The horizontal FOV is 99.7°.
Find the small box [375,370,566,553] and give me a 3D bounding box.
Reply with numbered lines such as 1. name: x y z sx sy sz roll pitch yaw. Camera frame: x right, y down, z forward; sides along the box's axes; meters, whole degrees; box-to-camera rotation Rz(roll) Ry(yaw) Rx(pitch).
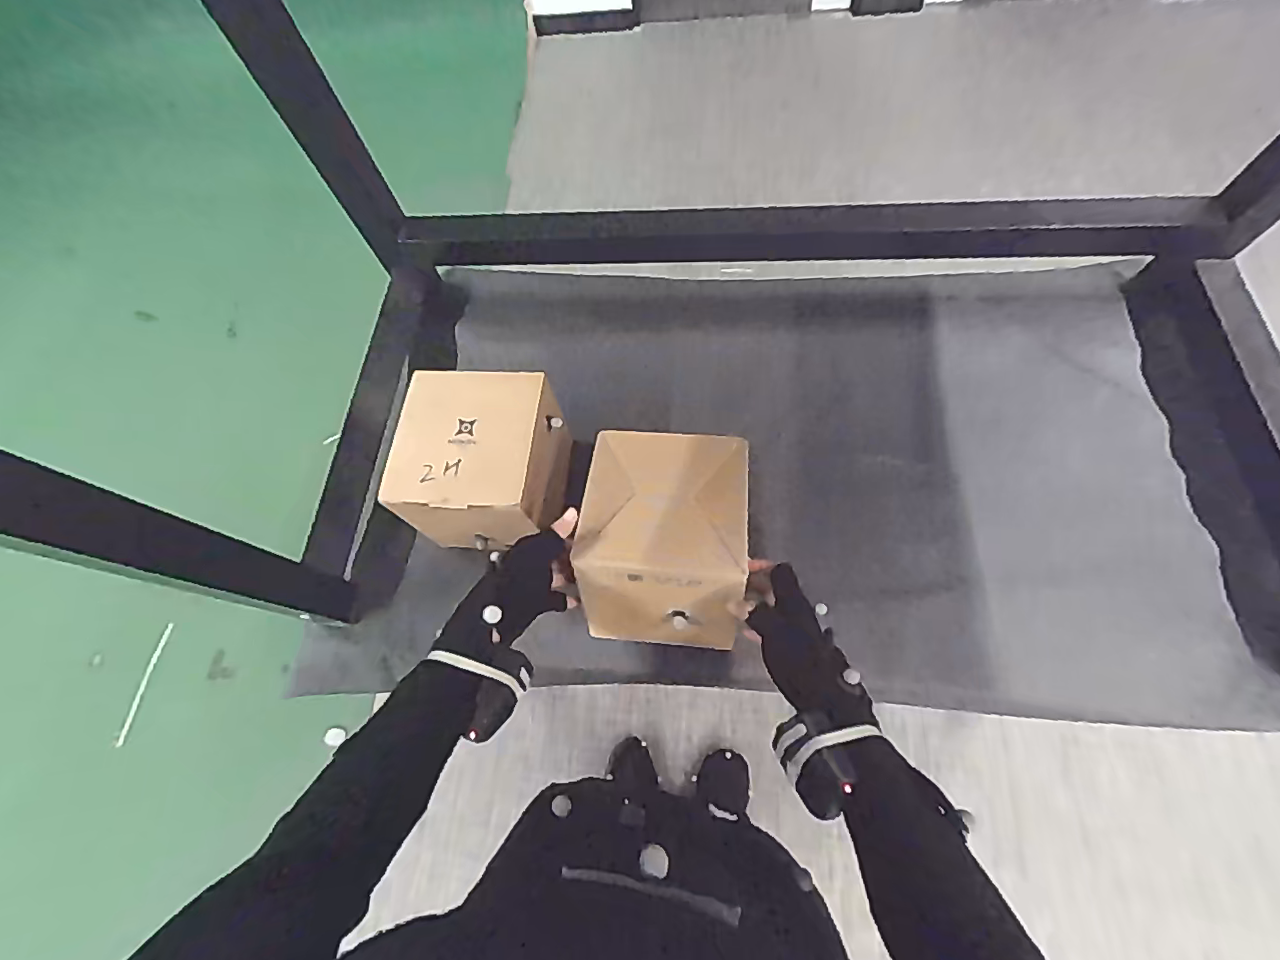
1. small box: -0.197 -0.019 0.690 0.168 0.176 0.179 2 65 7
